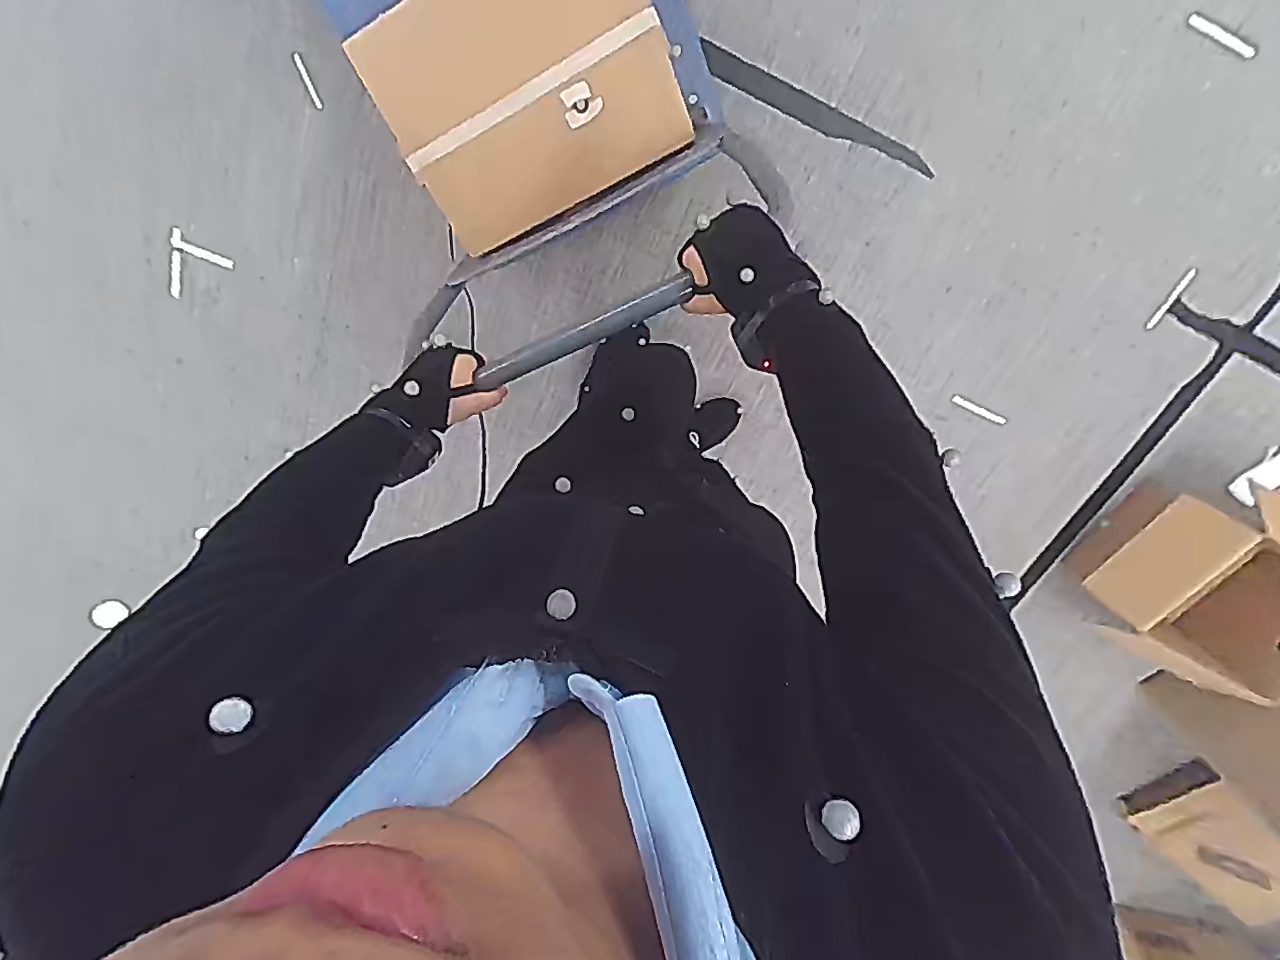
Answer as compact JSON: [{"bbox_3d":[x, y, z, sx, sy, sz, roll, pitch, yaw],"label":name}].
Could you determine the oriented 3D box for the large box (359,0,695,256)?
[{"bbox_3d":[-0.161,-0.643,0.913,0.408,0.320,0.320,-23,122,13],"label":"large box"}]
